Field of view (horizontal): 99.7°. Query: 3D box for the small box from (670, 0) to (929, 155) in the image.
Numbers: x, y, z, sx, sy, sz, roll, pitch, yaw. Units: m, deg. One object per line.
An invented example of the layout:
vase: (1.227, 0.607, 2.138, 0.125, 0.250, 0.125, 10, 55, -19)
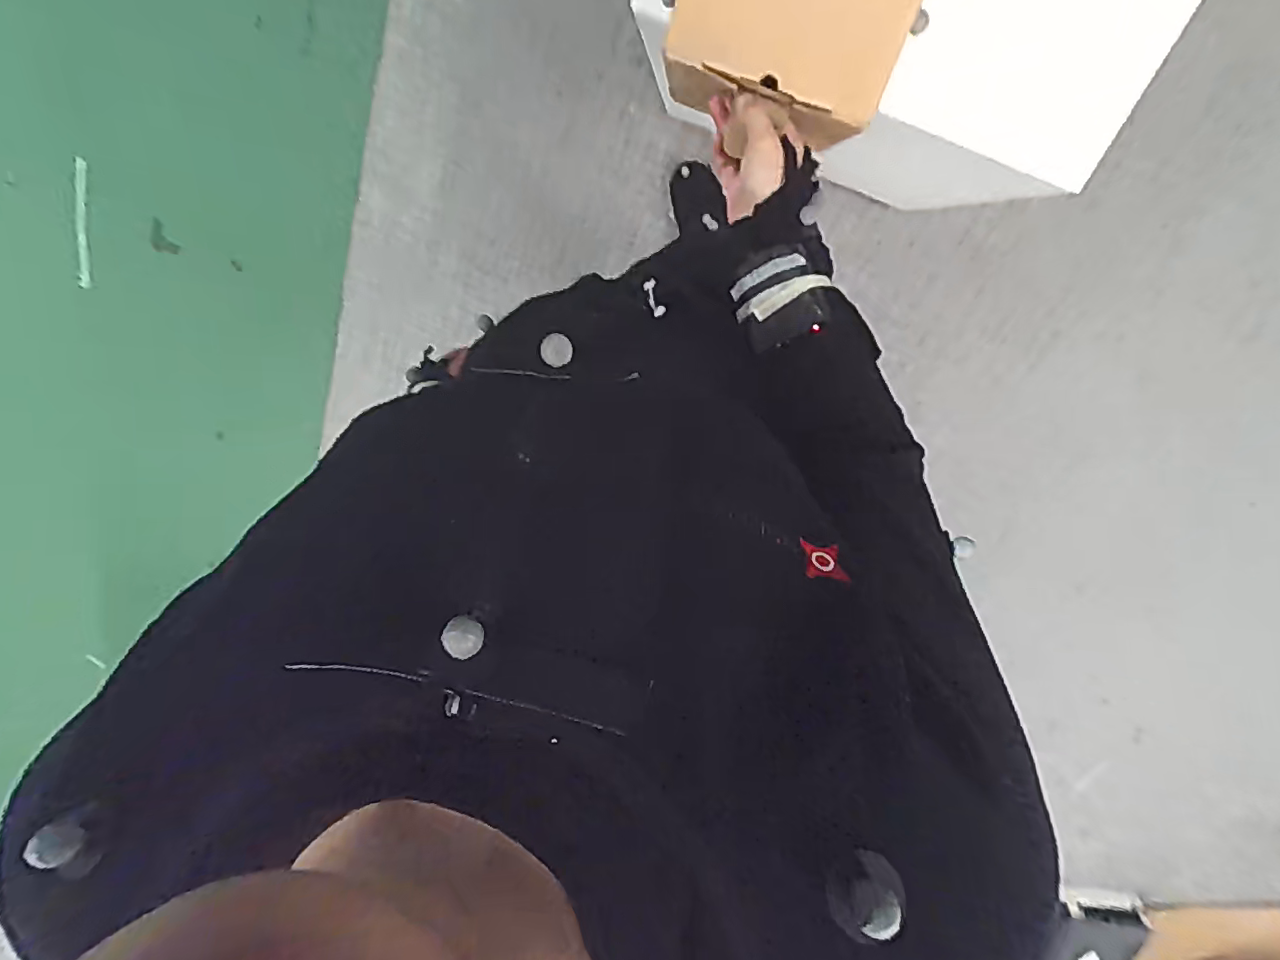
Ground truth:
small box: (0.129, -0.391, 0.437, 0.168, 0.176, 0.179, 18, 116, -3)
